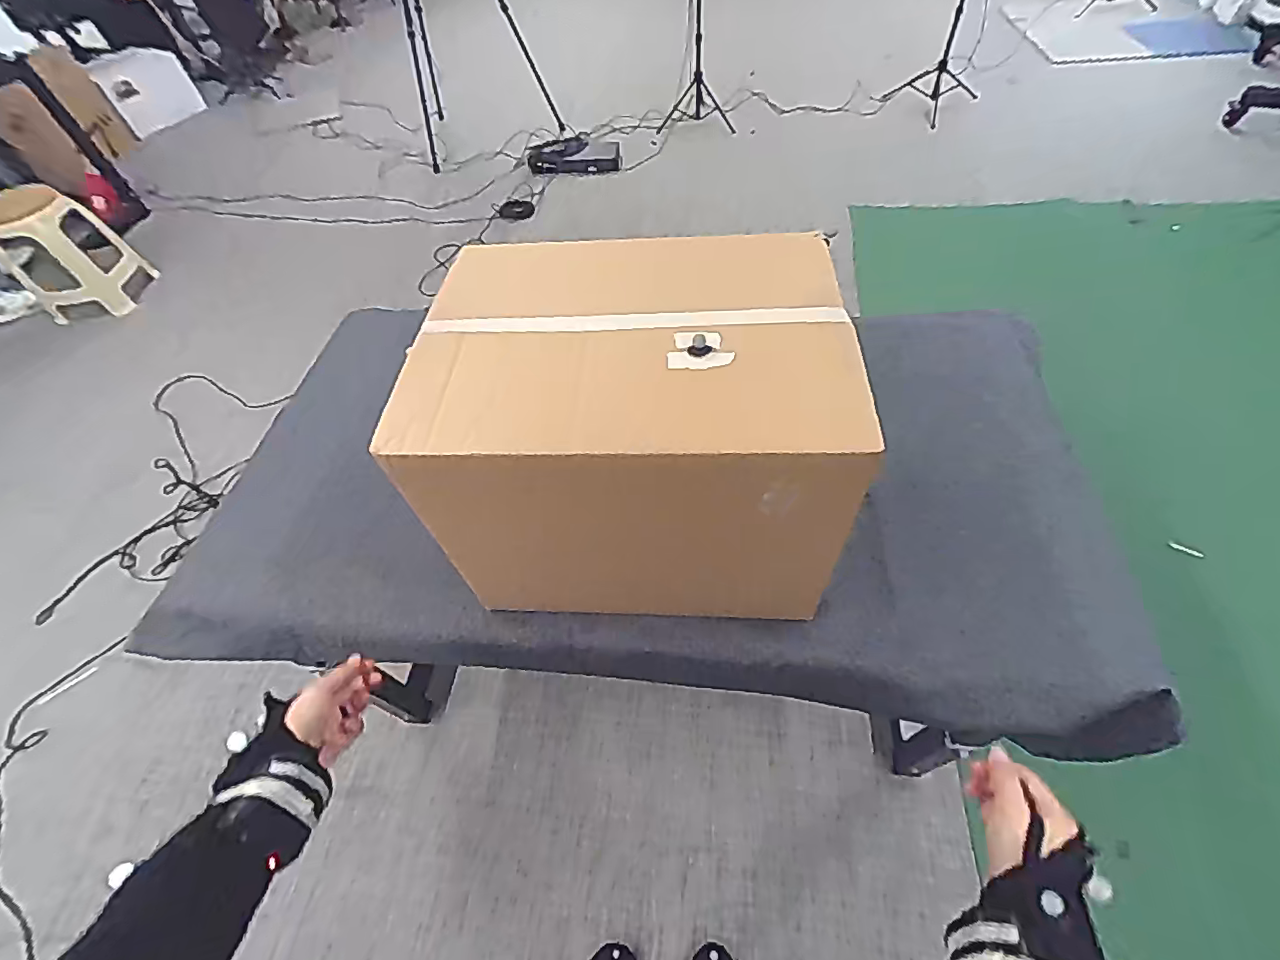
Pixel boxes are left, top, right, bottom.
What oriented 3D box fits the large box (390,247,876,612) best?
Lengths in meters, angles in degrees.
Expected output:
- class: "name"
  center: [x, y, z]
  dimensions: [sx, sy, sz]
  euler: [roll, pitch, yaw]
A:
- class: "large box"
  center: [0.001, -0.049, 0.641]
  dimensions: [0.408, 0.320, 0.320]
  euler: [0, 53, 5]
